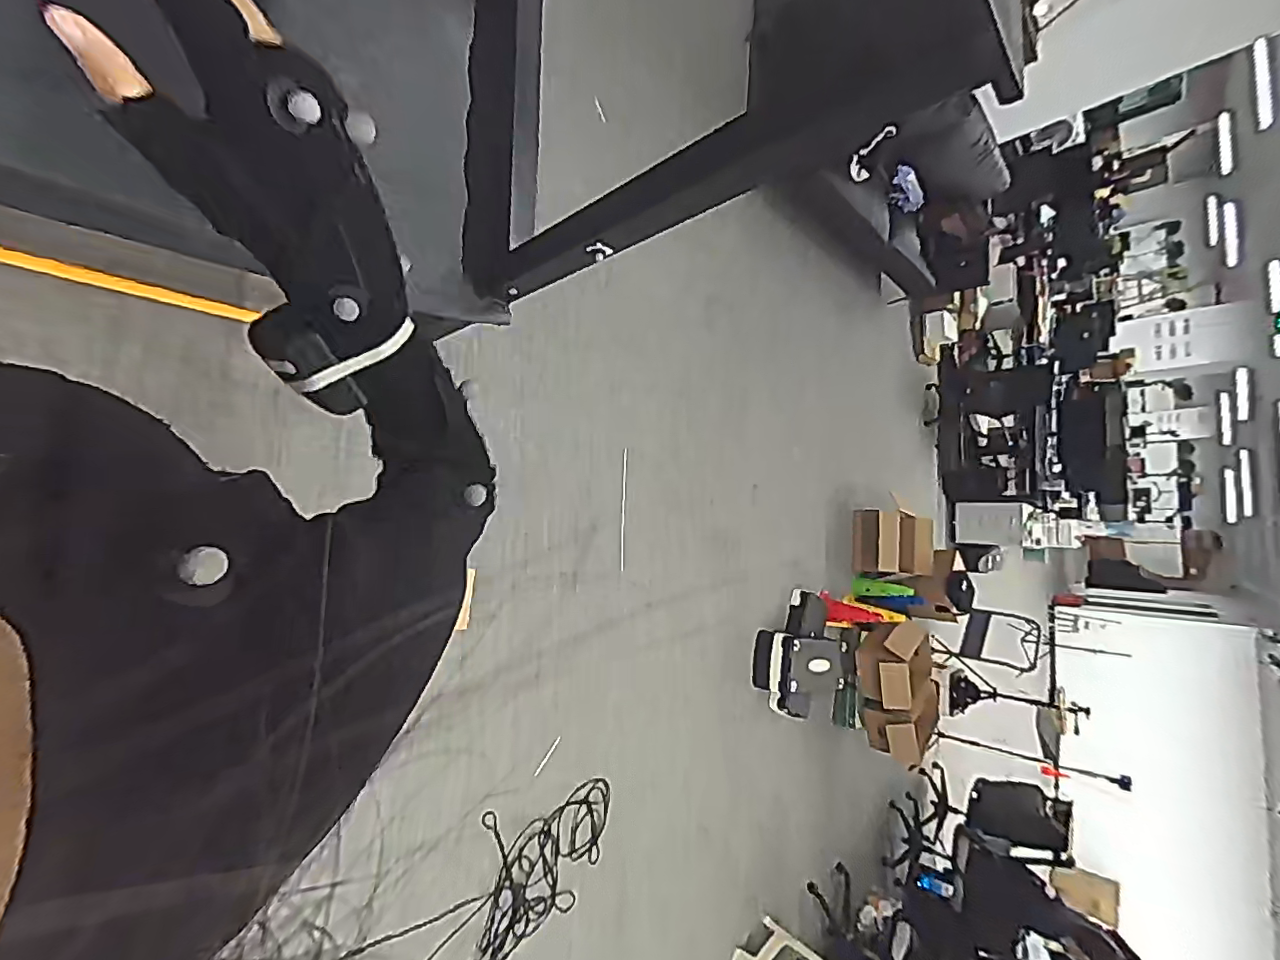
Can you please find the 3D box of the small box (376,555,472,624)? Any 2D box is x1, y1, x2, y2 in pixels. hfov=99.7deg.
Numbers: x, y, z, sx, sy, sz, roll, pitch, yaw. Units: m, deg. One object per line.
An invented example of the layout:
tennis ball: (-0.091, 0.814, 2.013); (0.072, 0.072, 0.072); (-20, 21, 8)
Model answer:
small box: (-0.589, 0.296, 1.476); (0.179, 0.176, 0.168); (15, 77, -44)
